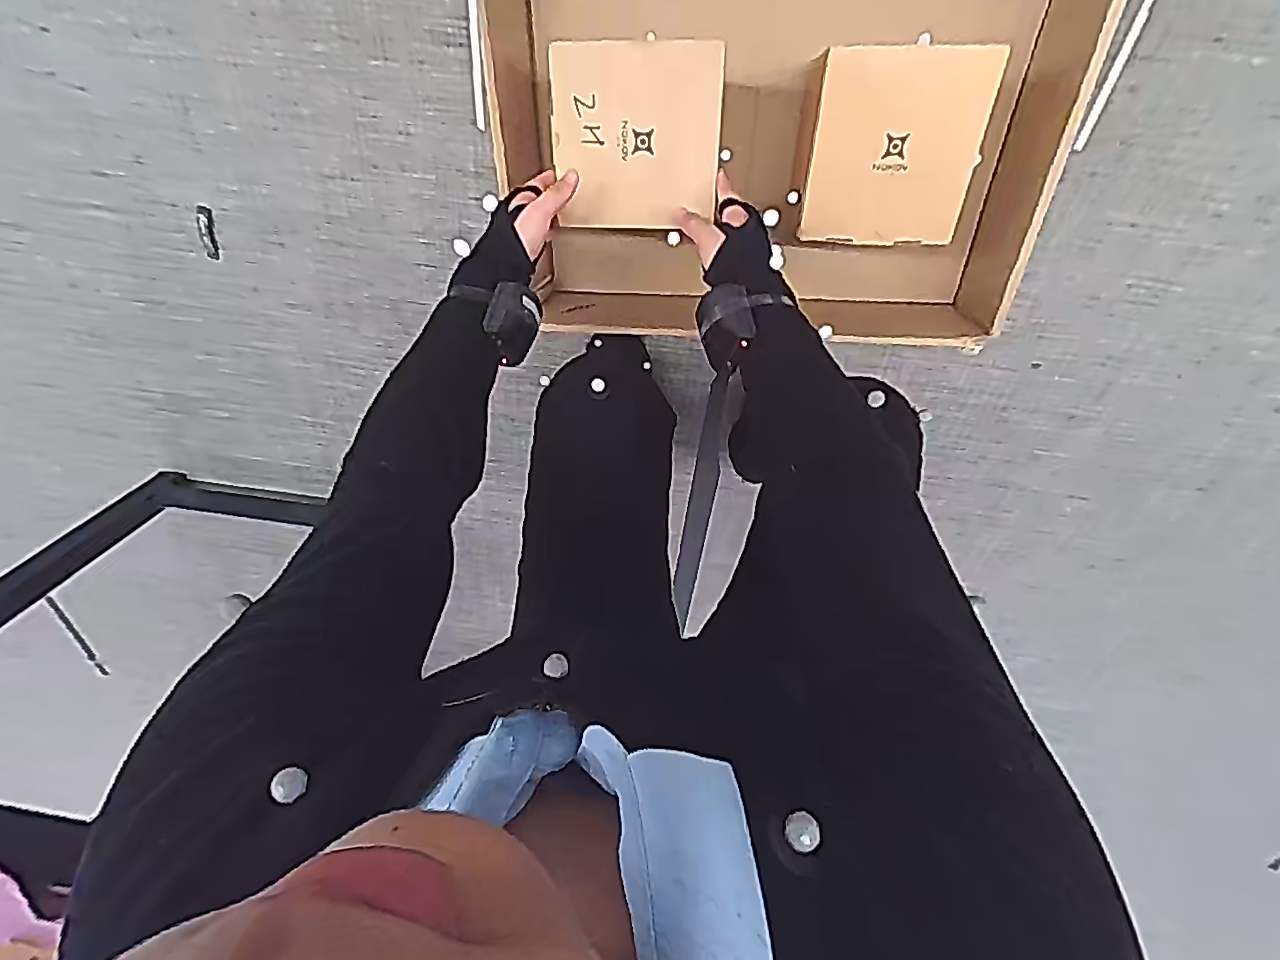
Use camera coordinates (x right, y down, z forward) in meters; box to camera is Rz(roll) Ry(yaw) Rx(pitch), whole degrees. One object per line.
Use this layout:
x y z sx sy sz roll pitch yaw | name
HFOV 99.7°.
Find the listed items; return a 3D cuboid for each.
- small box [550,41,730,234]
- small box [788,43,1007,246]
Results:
0.003 -0.377 0.621 0.179 0.176 0.168 3 115 4 | small box
0.270 -0.381 0.621 0.168 0.176 0.179 5 124 6 | small box
